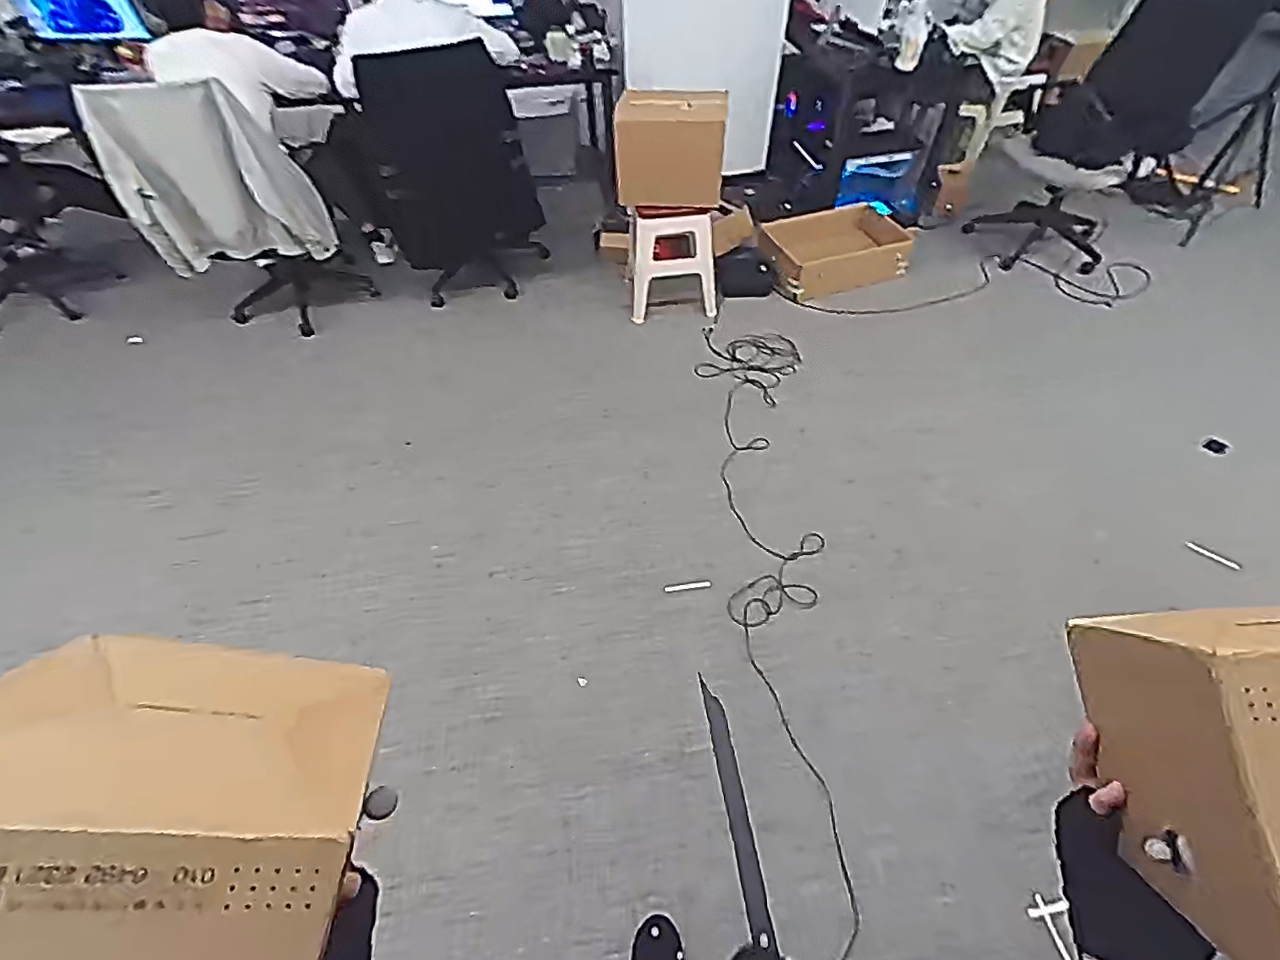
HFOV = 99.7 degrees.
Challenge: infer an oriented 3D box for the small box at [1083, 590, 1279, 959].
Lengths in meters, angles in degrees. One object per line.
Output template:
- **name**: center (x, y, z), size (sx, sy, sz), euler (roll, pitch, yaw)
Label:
- **small box**: center (0.379, 0.150, 0.287), size (0.168, 0.179, 0.176), euler (-8, 79, 18)
